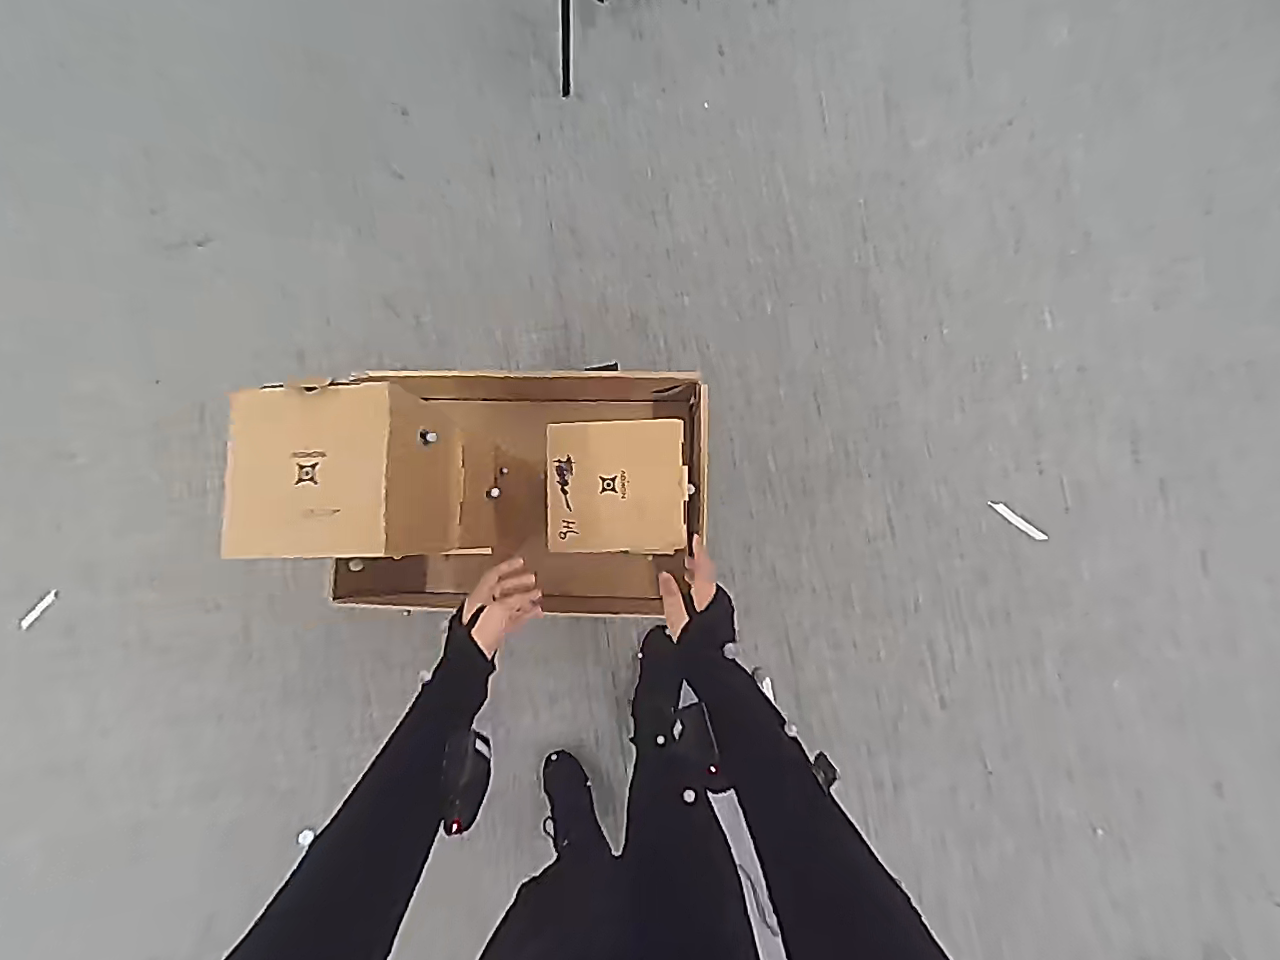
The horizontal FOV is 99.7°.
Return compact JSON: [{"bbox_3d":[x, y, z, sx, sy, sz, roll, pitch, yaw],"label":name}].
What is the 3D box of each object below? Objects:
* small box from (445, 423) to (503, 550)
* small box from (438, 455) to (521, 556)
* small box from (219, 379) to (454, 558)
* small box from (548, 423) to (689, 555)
[{"bbox_3d":[-0.309,0.014,0.770,0.179,0.176,0.168,1,84,2],"label":"small box"},{"bbox_3d":[-0.307,0.040,0.932,0.168,0.176,0.179,0,83,1],"label":"small box"},{"bbox_3d":[-0.321,-0.003,0.607,0.168,0.176,0.179,-1,83,3],"label":"small box"},{"bbox_3d":[-0.026,0.017,0.753,0.179,0.176,0.168,-1,84,2],"label":"small box"}]
